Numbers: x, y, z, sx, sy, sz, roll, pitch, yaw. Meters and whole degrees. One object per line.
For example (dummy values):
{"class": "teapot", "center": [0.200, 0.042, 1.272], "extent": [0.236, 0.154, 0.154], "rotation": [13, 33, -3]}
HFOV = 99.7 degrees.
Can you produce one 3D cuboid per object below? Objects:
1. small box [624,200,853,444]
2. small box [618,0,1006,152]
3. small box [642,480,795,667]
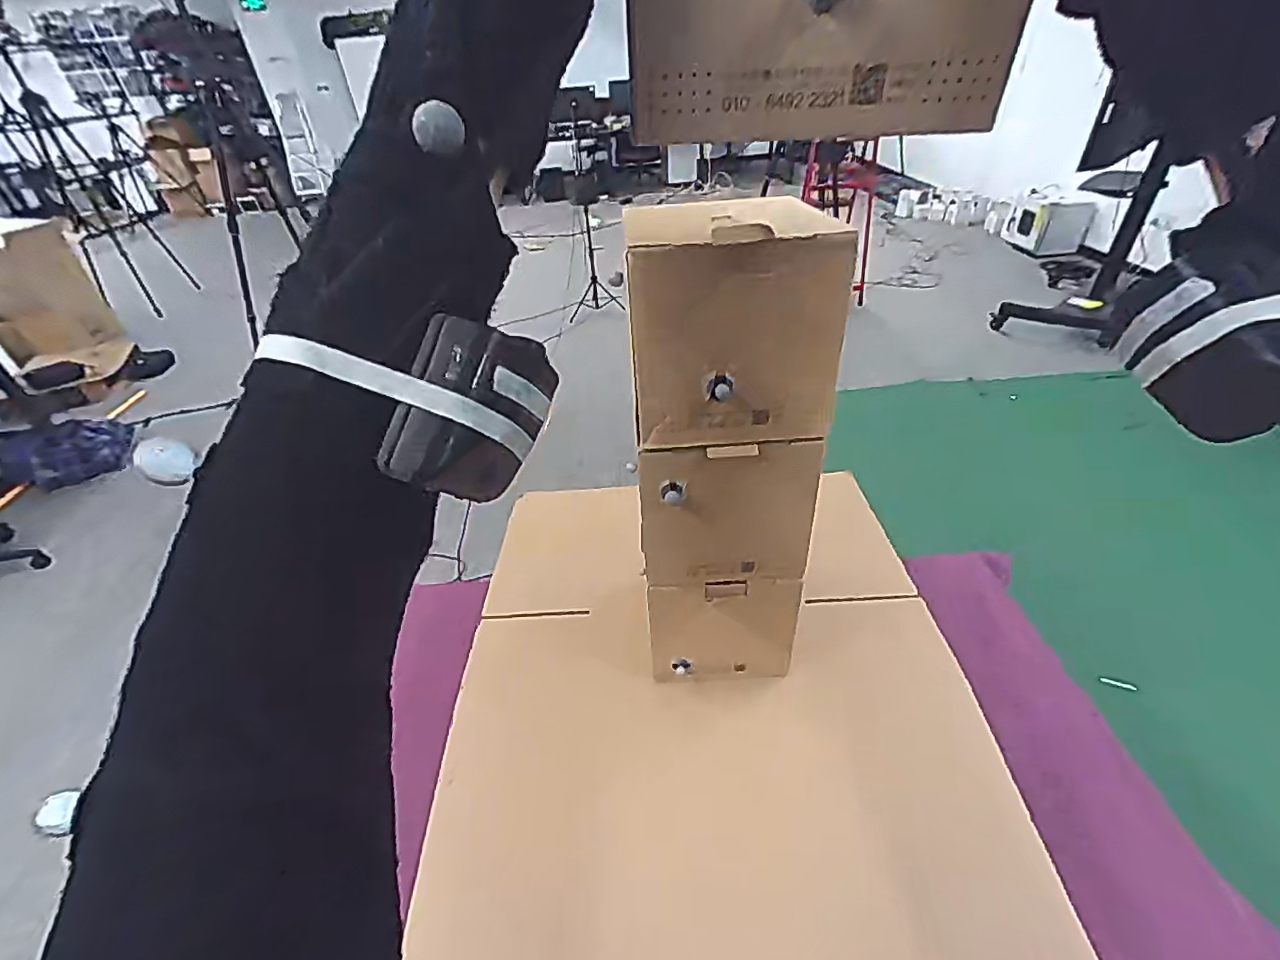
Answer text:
{"class": "small box", "center": [0.070, -0.148, 0.496], "extent": [0.168, 0.176, 0.179], "rotation": [-4, 35, 0]}
{"class": "small box", "center": [0.074, -0.276, 0.273], "extent": [0.168, 0.176, 0.179], "rotation": [-1, 39, 2]}
{"class": "small box", "center": [0.089, 0.120, 0.683], "extent": [0.168, 0.176, 0.179], "rotation": [-3, 36, 1]}
